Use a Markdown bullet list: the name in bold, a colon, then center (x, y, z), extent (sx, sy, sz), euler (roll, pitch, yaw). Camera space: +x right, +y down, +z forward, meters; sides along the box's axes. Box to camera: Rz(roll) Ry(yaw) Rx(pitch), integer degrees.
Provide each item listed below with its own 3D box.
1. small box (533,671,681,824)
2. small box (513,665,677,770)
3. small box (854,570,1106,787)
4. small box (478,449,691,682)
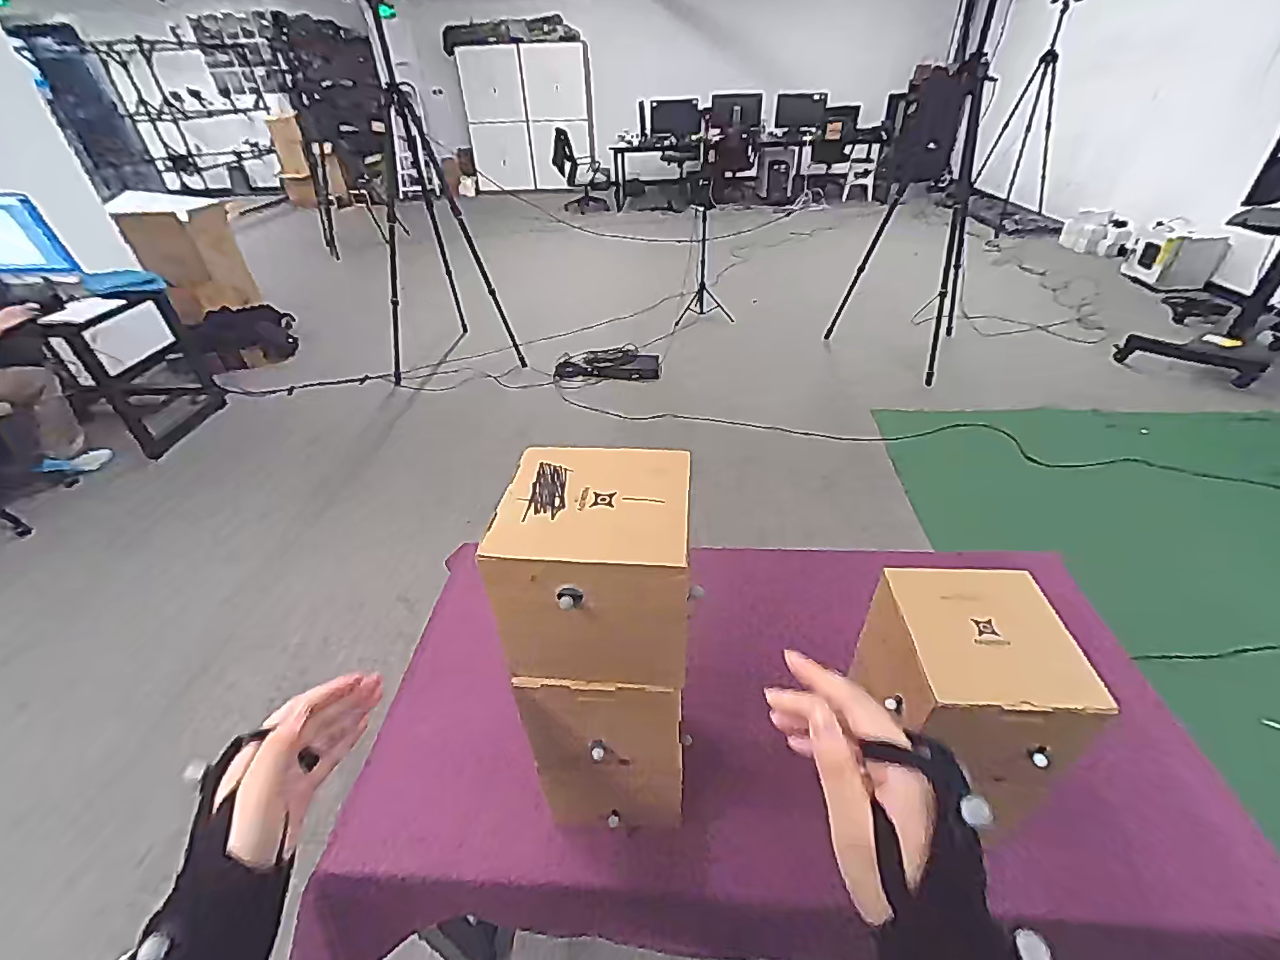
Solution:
- **small box**: center (-0.036, 0.350, 0.744), extent (0.179, 0.176, 0.168), euler (1, 37, 2)
- **small box**: center (-0.039, 0.216, 0.648), extent (0.168, 0.176, 0.179), euler (1, 38, 5)
- **small box**: center (0.361, 0.225, 0.618), extent (0.168, 0.176, 0.179), euler (1, 38, 4)
- **small box**: center (-0.039, 0.084, 0.548), extent (0.179, 0.176, 0.168), euler (3, 37, 5)
